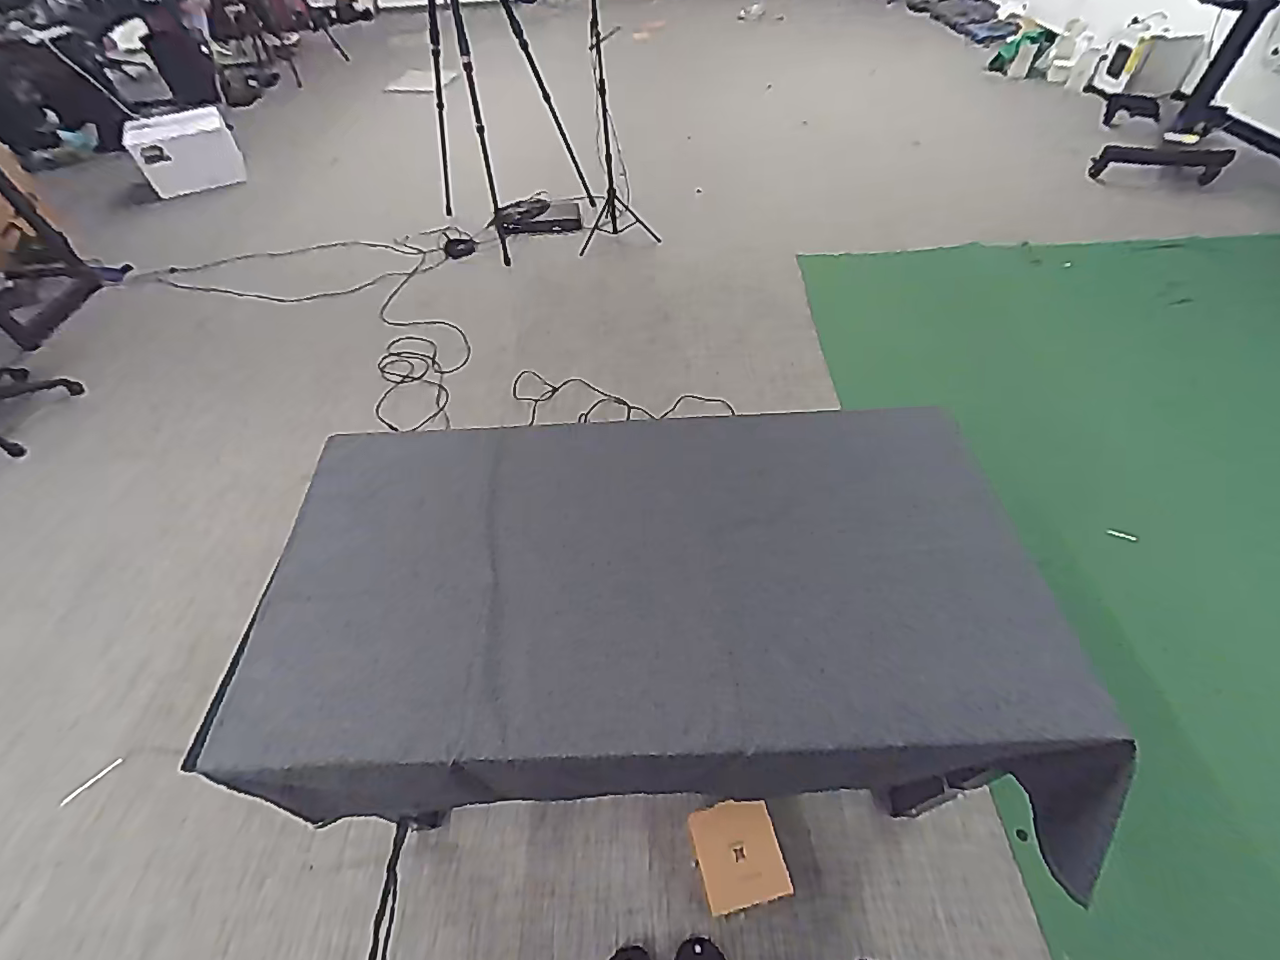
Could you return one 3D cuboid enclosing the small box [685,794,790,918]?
[{"bbox_3d":[0.194,0.793,1.138,0.168,0.176,0.179,-12,50,-6],"label":"small box"}]

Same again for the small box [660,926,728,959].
[{"bbox_3d":[0.103,0.996,0.986,0.179,0.176,0.168,-18,18,-40],"label":"small box"}]
